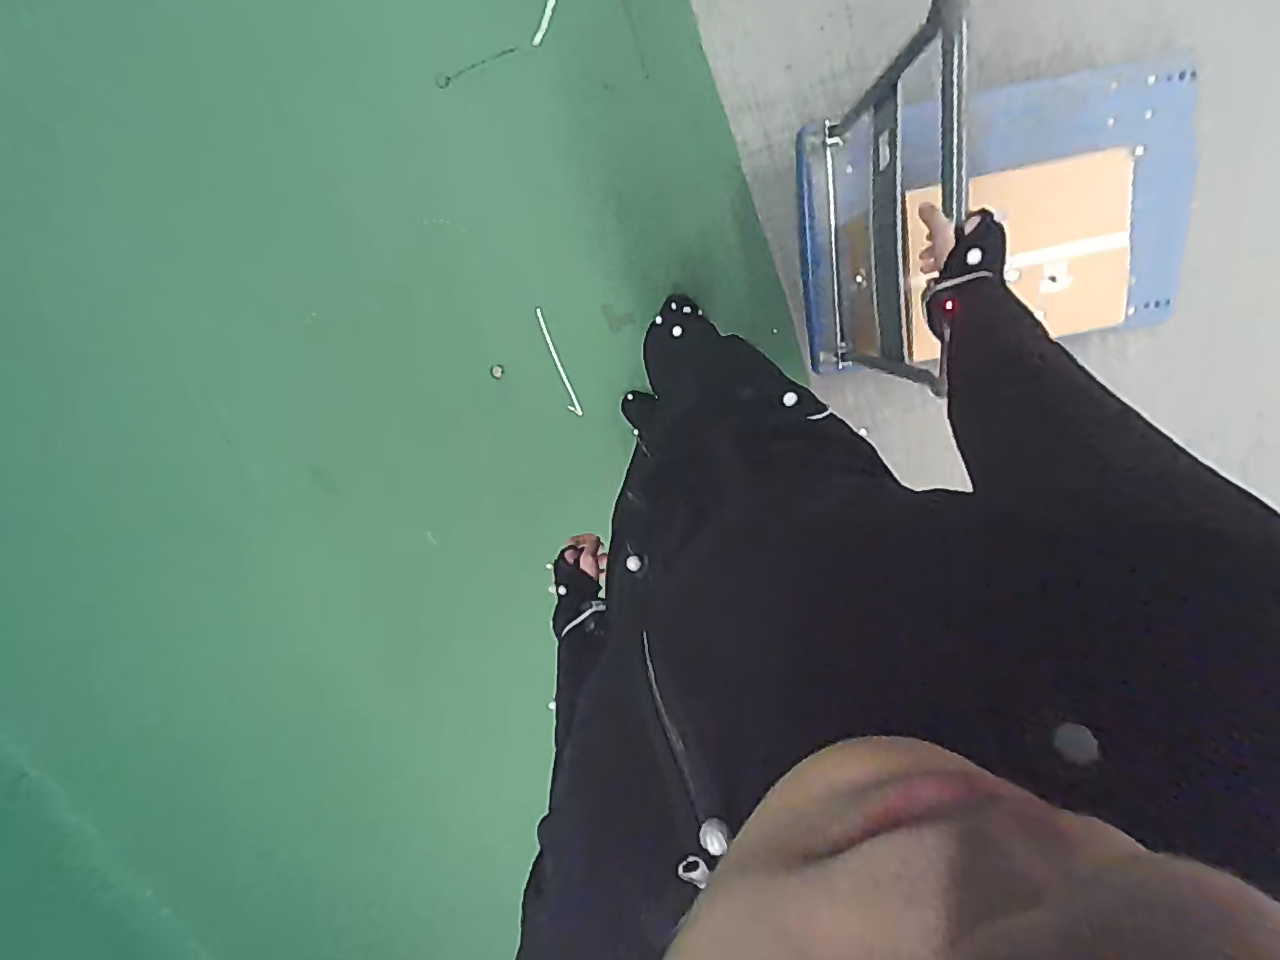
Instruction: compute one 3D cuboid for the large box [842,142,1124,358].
[{"bbox_3d":[0.696,-0.462,1.156,0.408,0.320,0.320,-10,107,3],"label":"large box"}]
